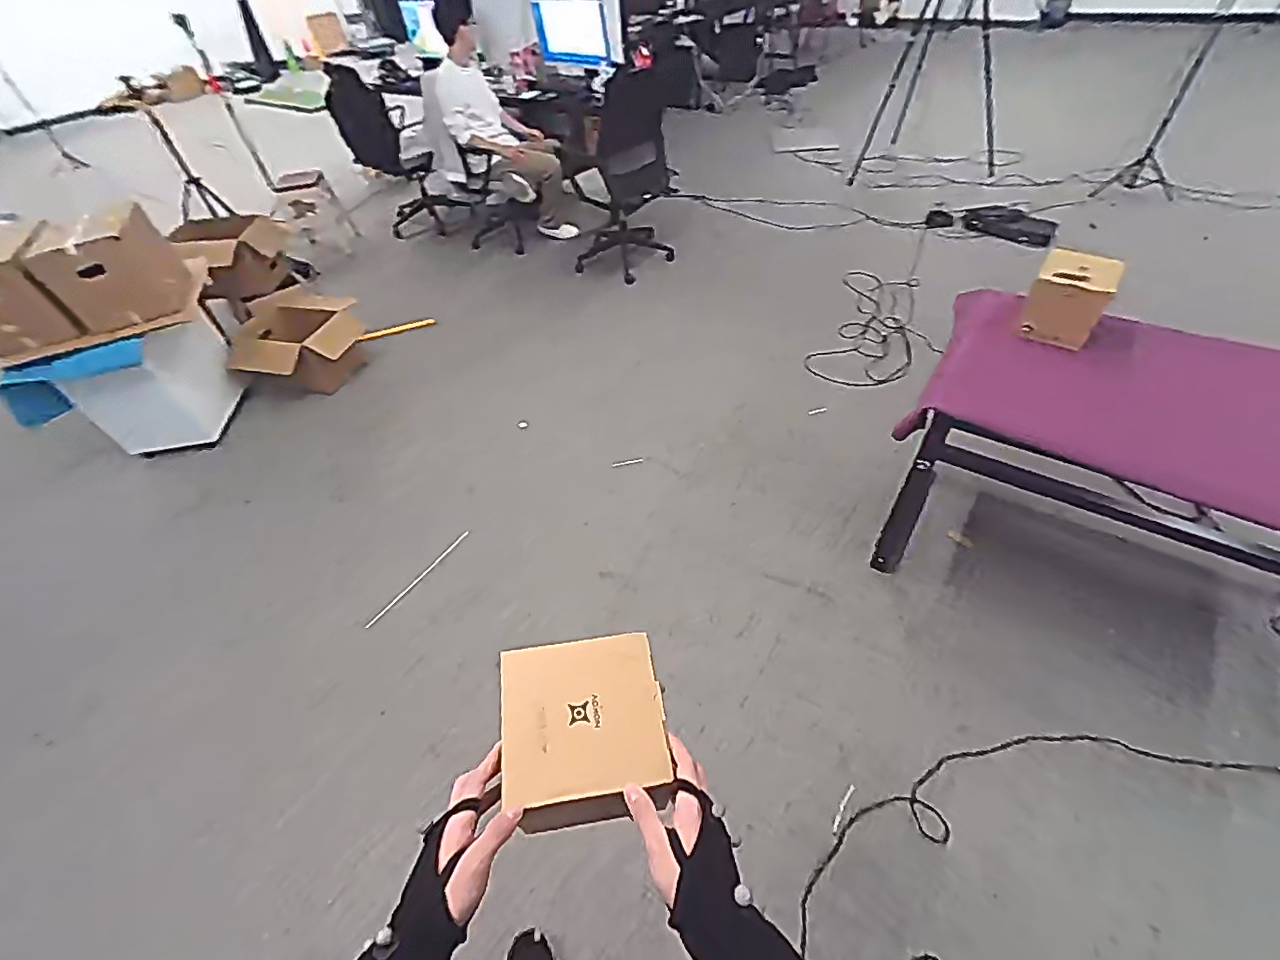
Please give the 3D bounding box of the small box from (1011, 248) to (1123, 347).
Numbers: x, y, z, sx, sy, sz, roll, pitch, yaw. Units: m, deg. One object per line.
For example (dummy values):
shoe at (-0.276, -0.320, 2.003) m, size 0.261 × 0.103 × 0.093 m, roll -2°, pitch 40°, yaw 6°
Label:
small box at (1.110, -0.476, 1.418) m, size 0.168 × 0.176 × 0.179 m, roll 27°, pitch 57°, yaw 26°

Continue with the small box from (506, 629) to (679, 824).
small box at (-0.058, 0.297, 0.650) m, size 0.179 × 0.176 × 0.168 m, roll -6°, pitch 50°, yaw -6°
